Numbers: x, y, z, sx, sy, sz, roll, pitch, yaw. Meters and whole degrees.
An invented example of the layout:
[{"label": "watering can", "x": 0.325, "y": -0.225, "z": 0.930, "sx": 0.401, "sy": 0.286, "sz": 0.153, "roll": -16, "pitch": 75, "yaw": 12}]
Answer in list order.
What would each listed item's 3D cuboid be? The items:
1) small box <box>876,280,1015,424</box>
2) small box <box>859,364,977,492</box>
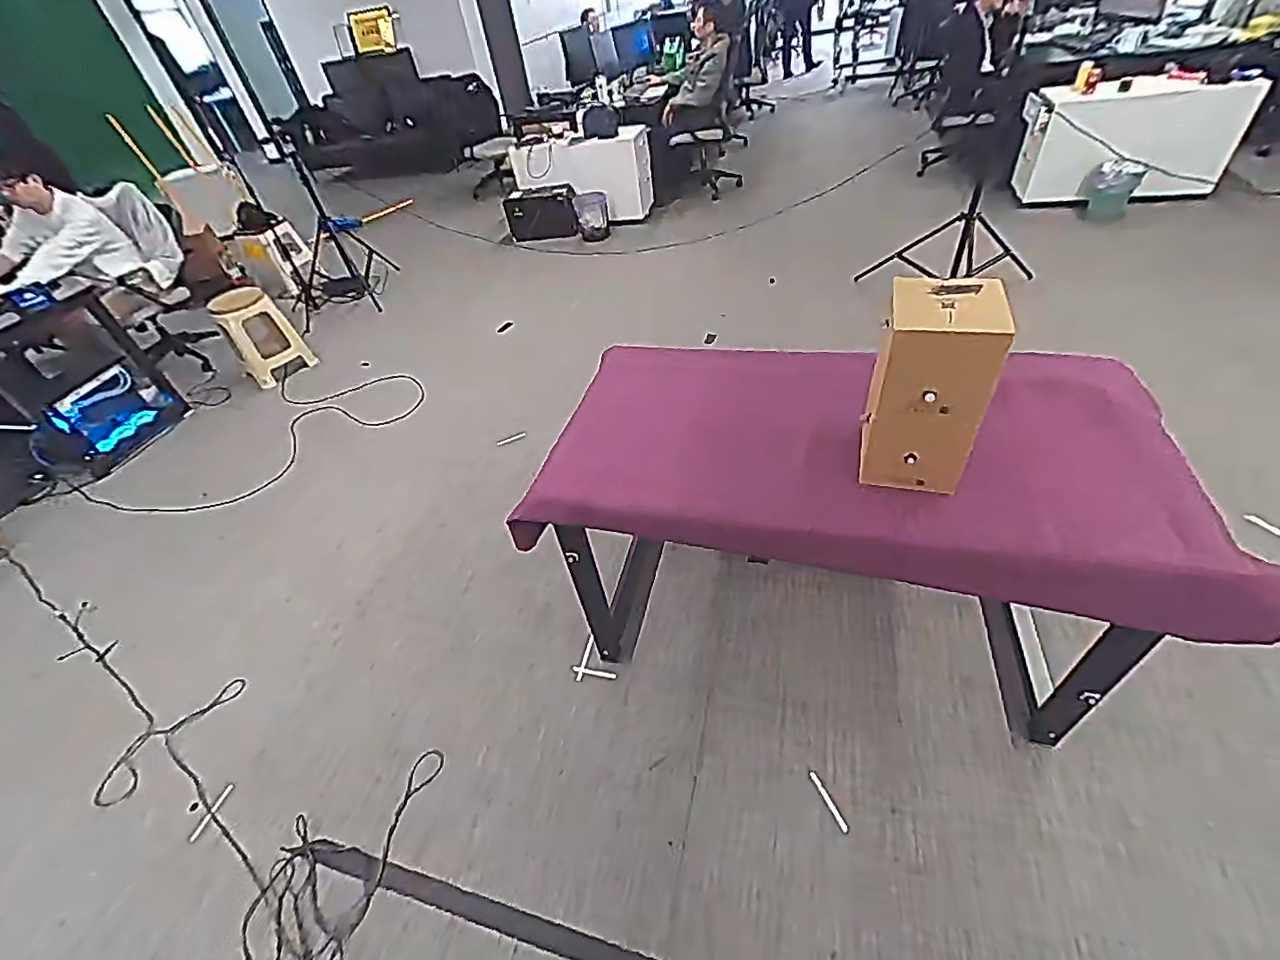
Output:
[{"label": "small box", "x": 0.501, "y": -0.219, "z": 0.914, "sx": 0.168, "sy": 0.176, "sz": 0.179, "roll": 7, "pitch": 46, "yaw": 18}, {"label": "small box", "x": 0.517, "y": -0.099, "z": 1.025, "sx": 0.168, "sy": 0.176, "sz": 0.179, "roll": 8, "pitch": 46, "yaw": 18}]
